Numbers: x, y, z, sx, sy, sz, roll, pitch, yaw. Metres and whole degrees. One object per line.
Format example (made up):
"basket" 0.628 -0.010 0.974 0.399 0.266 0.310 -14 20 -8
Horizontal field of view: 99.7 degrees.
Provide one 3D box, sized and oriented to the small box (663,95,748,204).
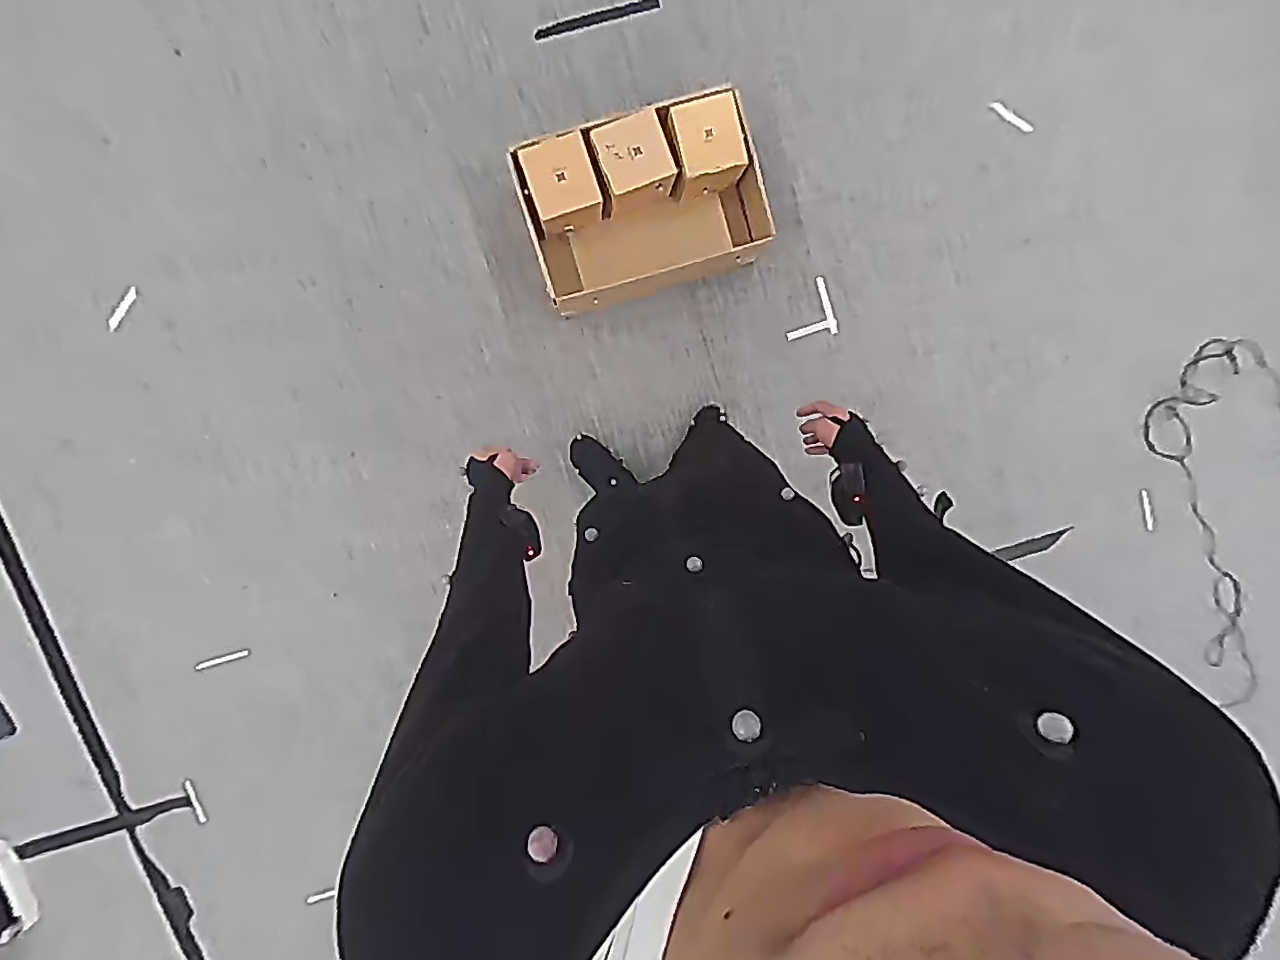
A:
"small box" 0.167 -0.870 1.437 0.168 0.176 0.179 -17 99 -2
